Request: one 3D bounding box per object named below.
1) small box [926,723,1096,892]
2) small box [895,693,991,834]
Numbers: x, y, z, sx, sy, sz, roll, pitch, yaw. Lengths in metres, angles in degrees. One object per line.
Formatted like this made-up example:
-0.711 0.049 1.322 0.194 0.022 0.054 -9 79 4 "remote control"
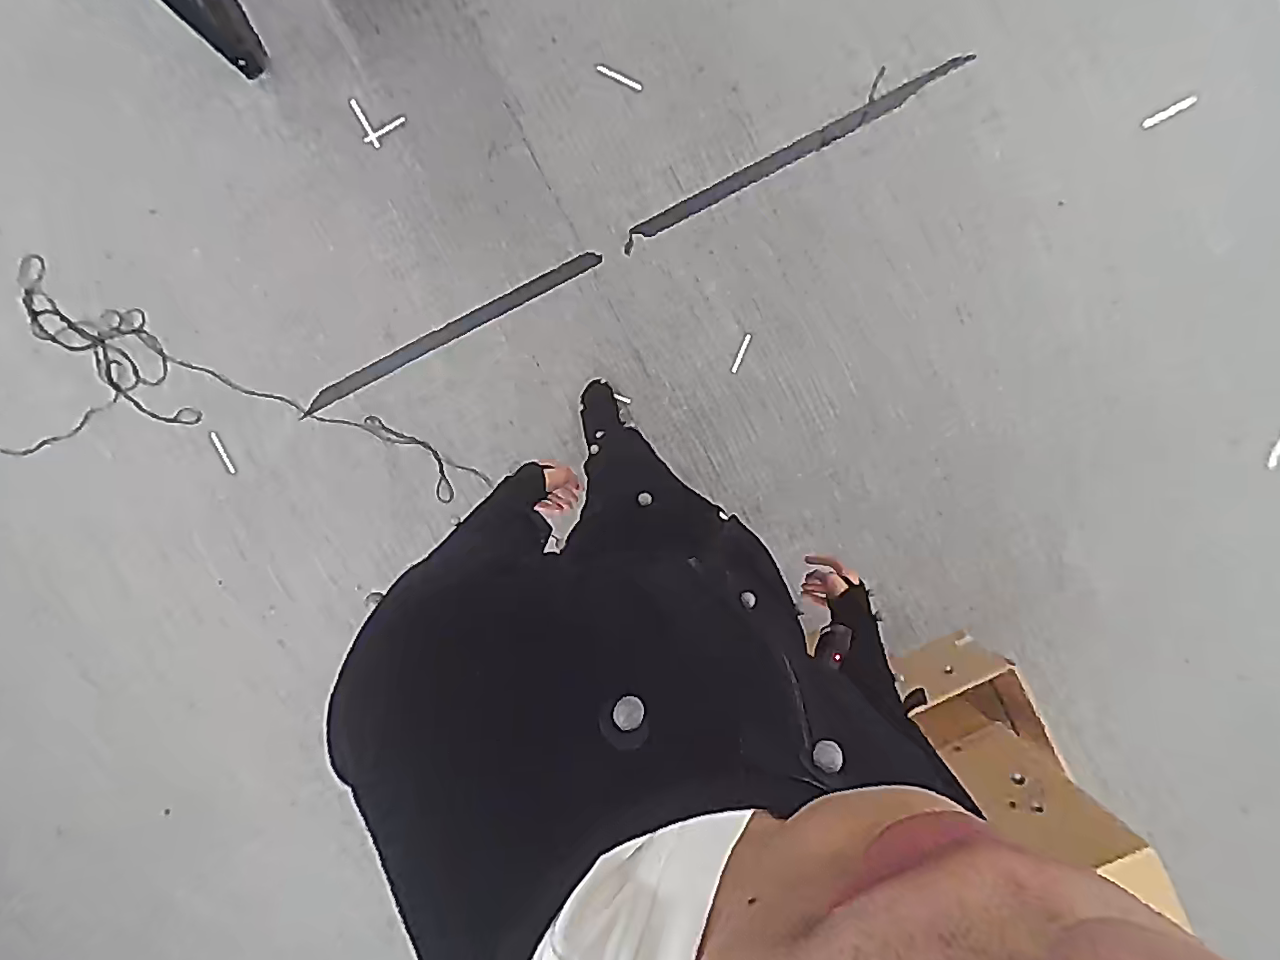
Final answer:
0.675 0.595 1.003 0.168 0.176 0.179 -27 95 2 "small box"
0.683 0.601 1.167 0.179 0.176 0.168 -33 94 2 "small box"
